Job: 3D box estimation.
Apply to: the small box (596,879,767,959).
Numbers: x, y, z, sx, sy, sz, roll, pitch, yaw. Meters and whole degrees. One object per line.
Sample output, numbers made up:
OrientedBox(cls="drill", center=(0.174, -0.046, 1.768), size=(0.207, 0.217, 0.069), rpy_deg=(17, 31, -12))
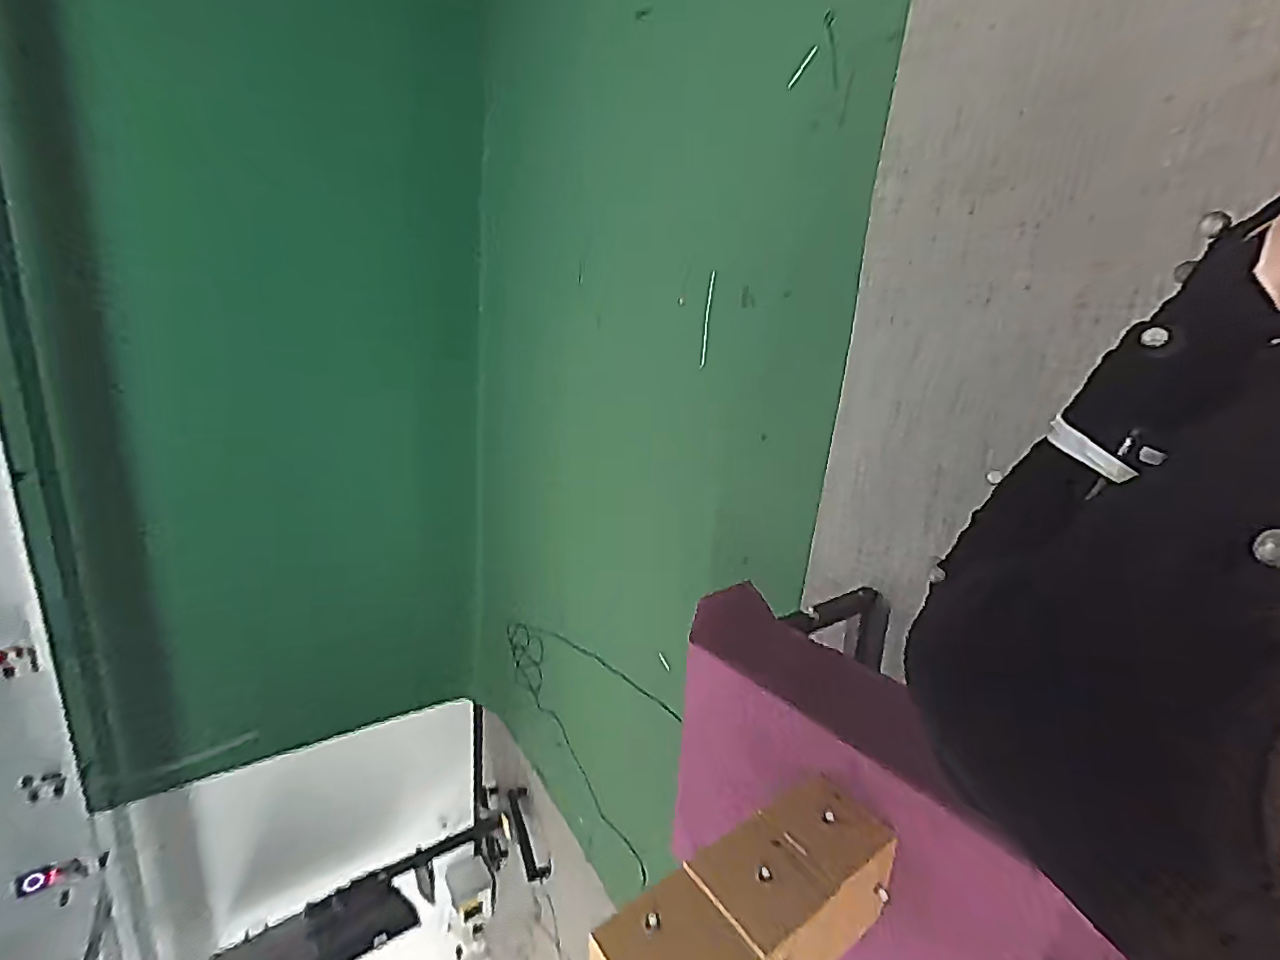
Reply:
OrientedBox(cls="small box", center=(0.053, 0.692, 0.731), size=(0.179, 0.176, 0.168), rpy_deg=(20, 113, 50))

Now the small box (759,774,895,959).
OrientedBox(cls="small box", center=(0.313, 0.652, 0.930), size=(0.168, 0.176, 0.179), rpy_deg=(21, 112, 51))

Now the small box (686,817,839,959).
OrientedBox(cls="small box", center=(0.182, 0.669, 0.829), size=(0.168, 0.176, 0.179), rpy_deg=(21, 112, 51))
